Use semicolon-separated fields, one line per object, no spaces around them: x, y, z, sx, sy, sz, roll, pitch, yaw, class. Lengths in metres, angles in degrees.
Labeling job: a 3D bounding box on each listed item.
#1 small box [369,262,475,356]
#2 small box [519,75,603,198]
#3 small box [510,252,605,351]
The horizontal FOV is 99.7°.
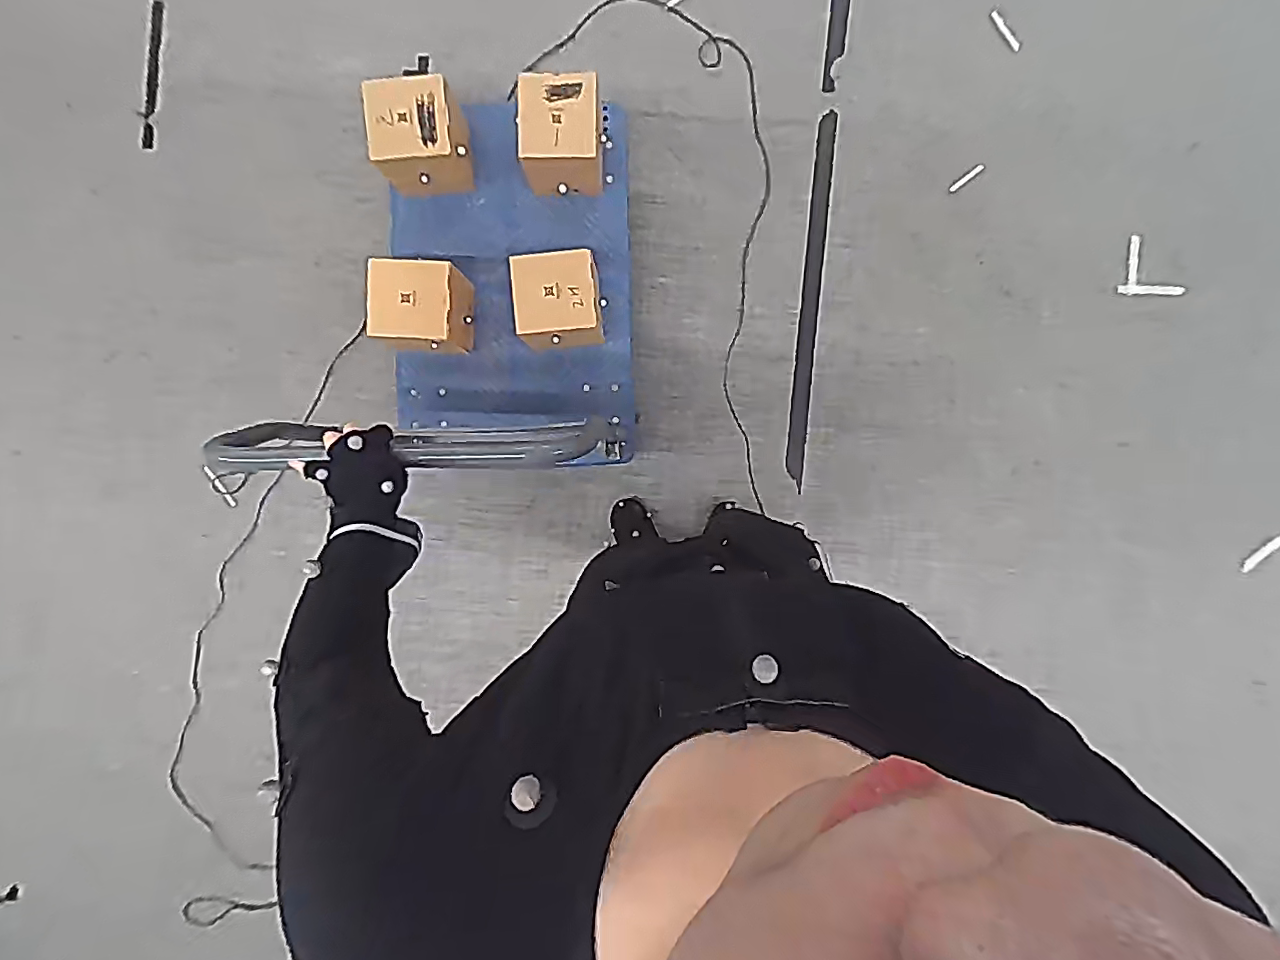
-0.488;-0.380;1.228;0.179;0.176;0.168;1;92;-1;small box
-0.171;-0.759;1.207;0.168;0.176;0.179;0;93;1;small box
-0.180;-0.395;1.222;0.179;0.176;0.168;-5;92;1;small box
